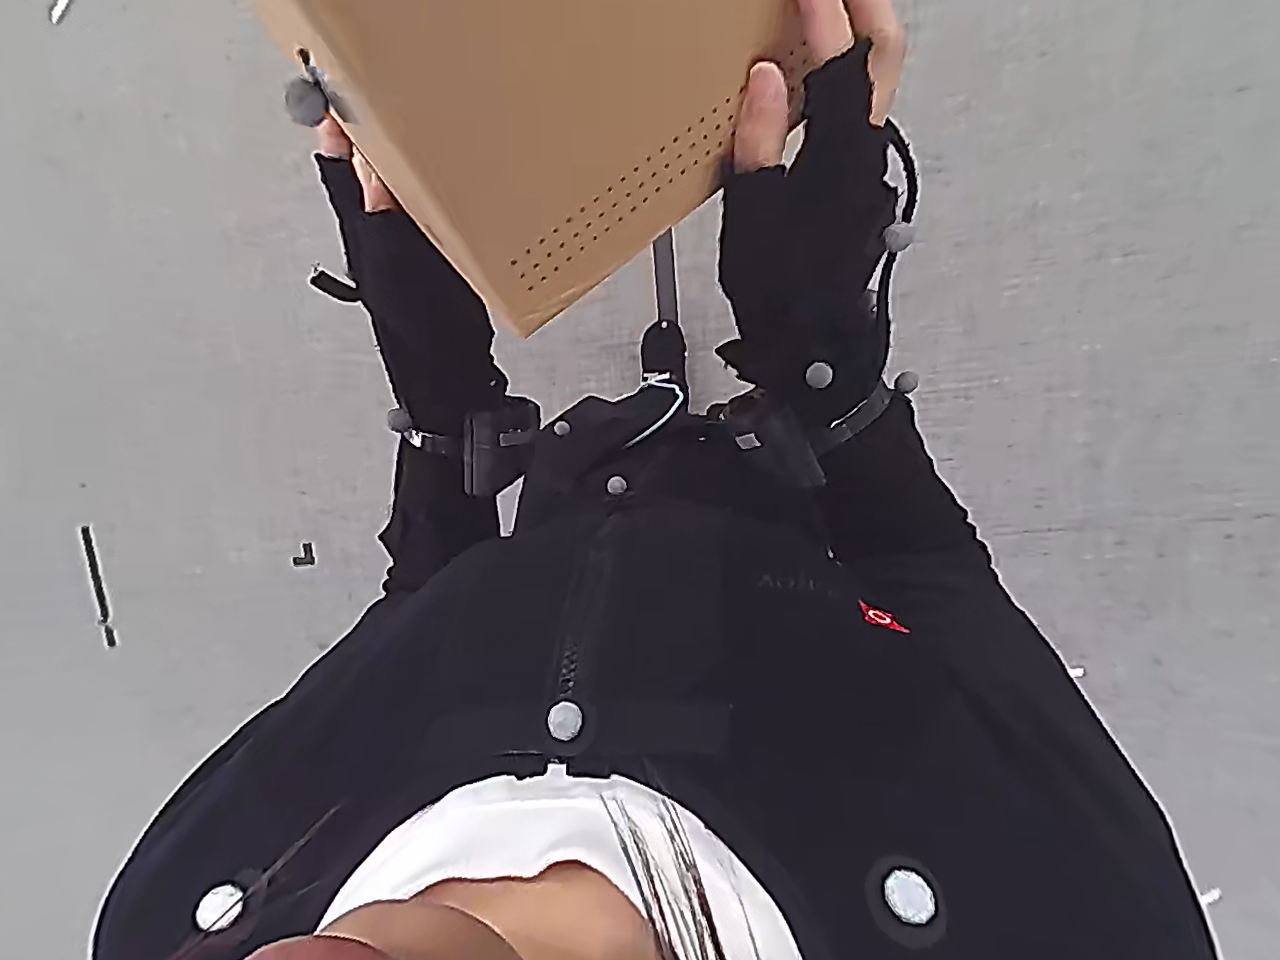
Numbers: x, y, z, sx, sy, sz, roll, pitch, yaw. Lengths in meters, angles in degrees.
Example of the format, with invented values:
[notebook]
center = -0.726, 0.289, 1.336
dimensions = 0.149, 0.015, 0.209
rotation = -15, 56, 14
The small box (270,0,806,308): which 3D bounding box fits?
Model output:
[small box]
center = -0.049, -0.207, 0.219
dimensions = 0.179, 0.176, 0.168
rotation = -38, 58, -3
